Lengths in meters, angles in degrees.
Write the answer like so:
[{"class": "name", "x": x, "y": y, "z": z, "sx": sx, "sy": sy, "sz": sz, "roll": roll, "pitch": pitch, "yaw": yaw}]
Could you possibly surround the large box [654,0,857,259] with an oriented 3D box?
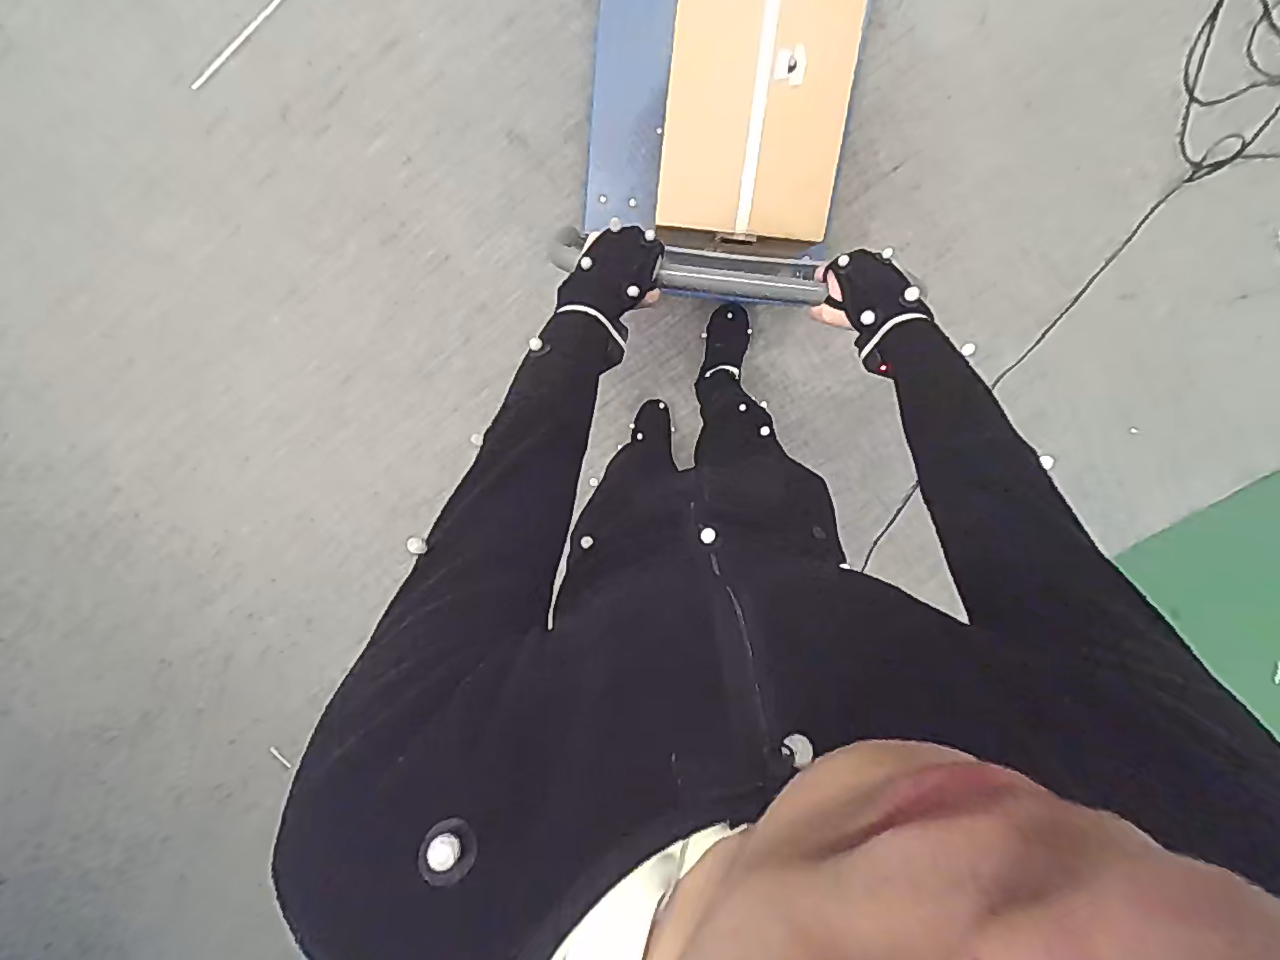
[{"class": "large box", "x": 0.202, "y": -0.691, "z": 1.101, "sx": 0.320, "sy": 0.320, "sz": 0.408, "roll": 6, "pitch": 106, "yaw": -1}]
